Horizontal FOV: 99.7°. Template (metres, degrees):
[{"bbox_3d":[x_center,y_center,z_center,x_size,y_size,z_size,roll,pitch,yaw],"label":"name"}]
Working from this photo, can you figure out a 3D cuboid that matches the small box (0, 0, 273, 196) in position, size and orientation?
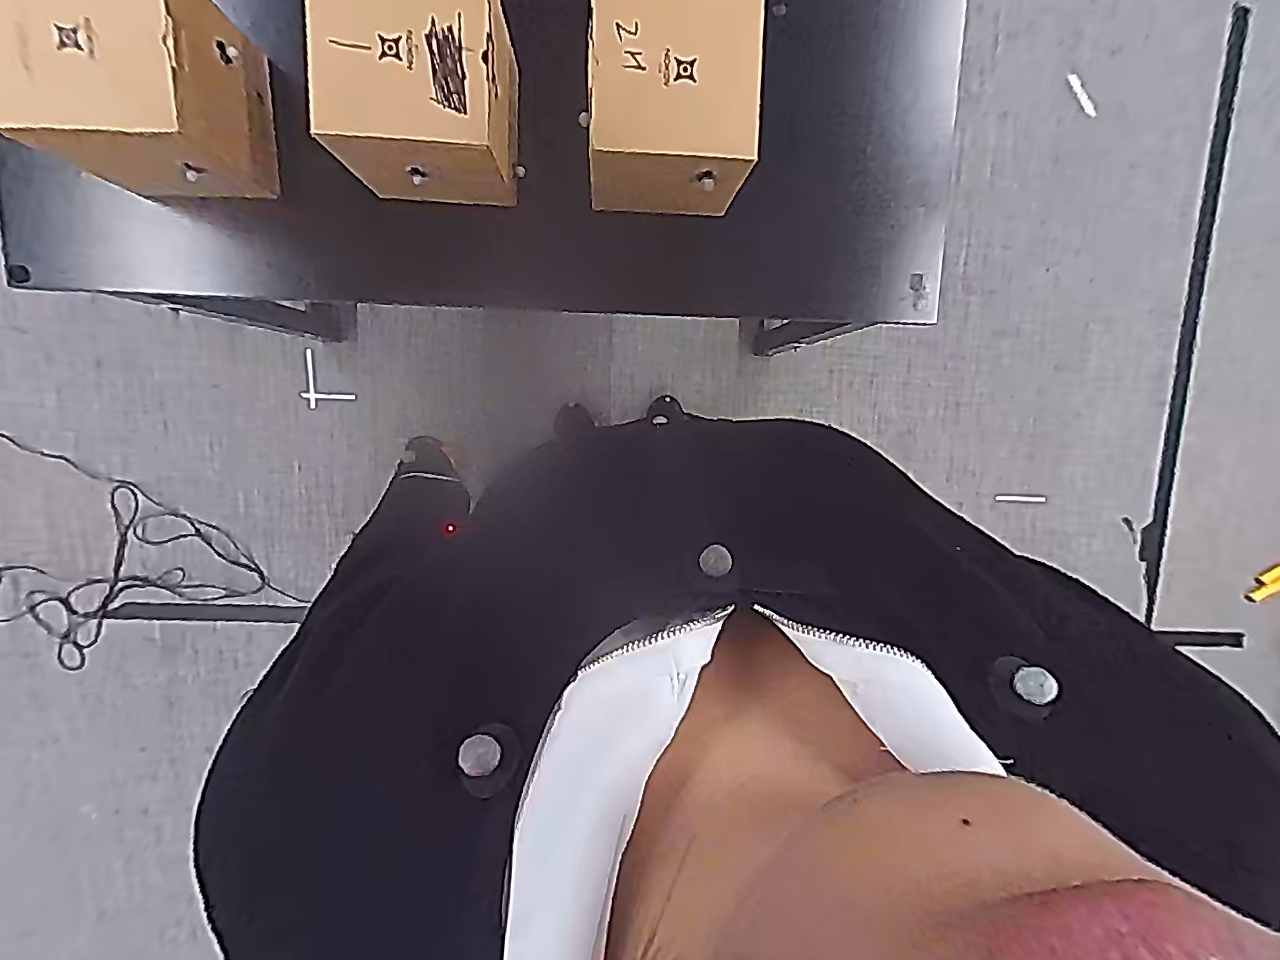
[{"bbox_3d":[-0.533,-0.427,0.588,0.179,0.176,0.168,-1,97,-3],"label":"small box"}]

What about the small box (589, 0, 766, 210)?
[{"bbox_3d":[0.032,-0.427,0.623,0.179,0.176,0.168,1,97,-3],"label":"small box"}]

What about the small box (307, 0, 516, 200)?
[{"bbox_3d":[-0.238,-0.431,0.605,0.179,0.176,0.168,2,98,-3],"label":"small box"}]
